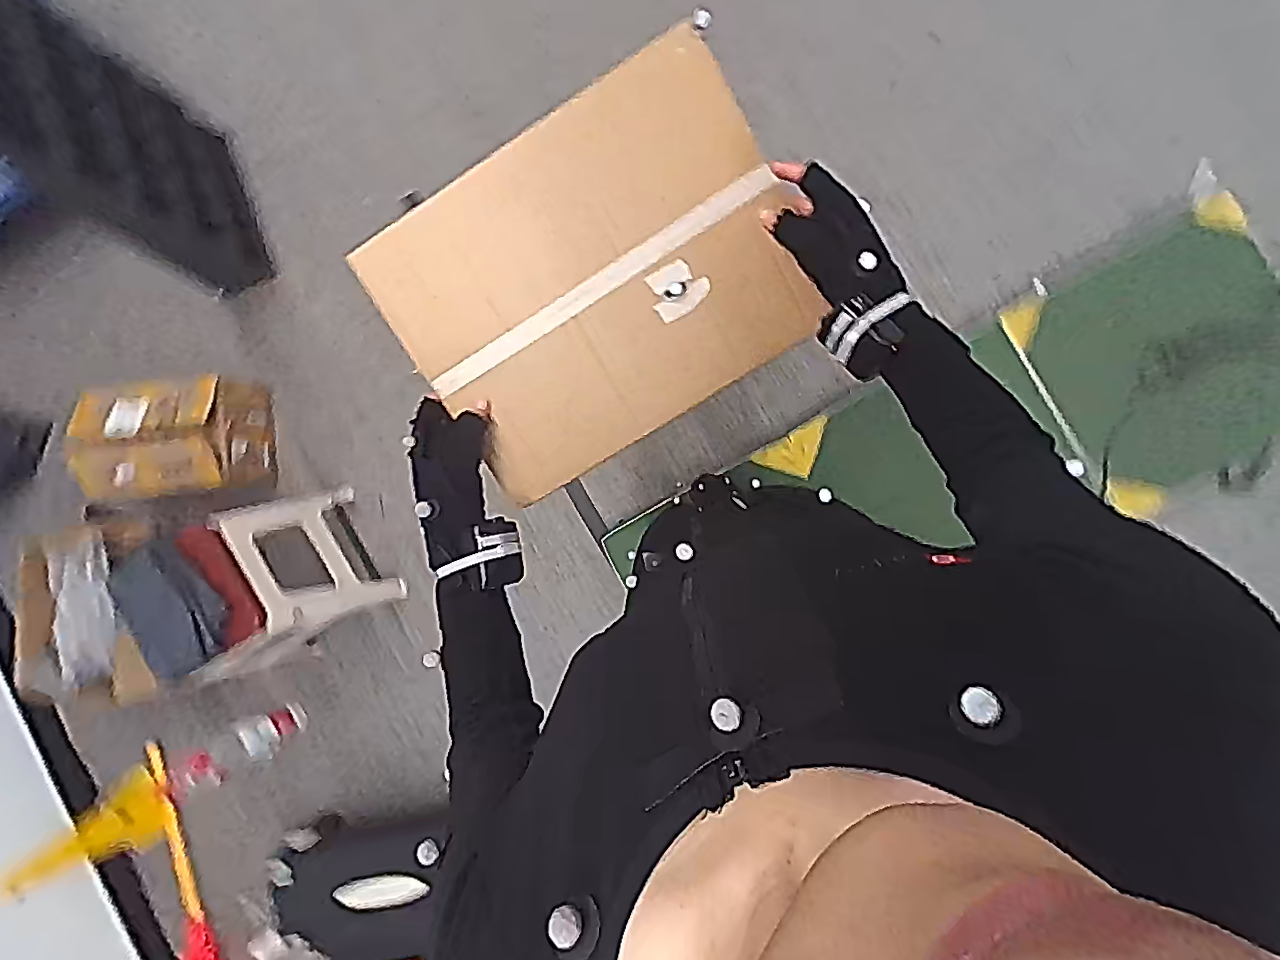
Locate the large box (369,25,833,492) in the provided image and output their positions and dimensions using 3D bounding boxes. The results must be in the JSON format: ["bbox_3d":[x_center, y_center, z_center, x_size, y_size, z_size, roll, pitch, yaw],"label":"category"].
[{"bbox_3d":[-0.040,-0.238,0.709,0.408,0.320,0.320,-30,100,6],"label":"large box"}]
